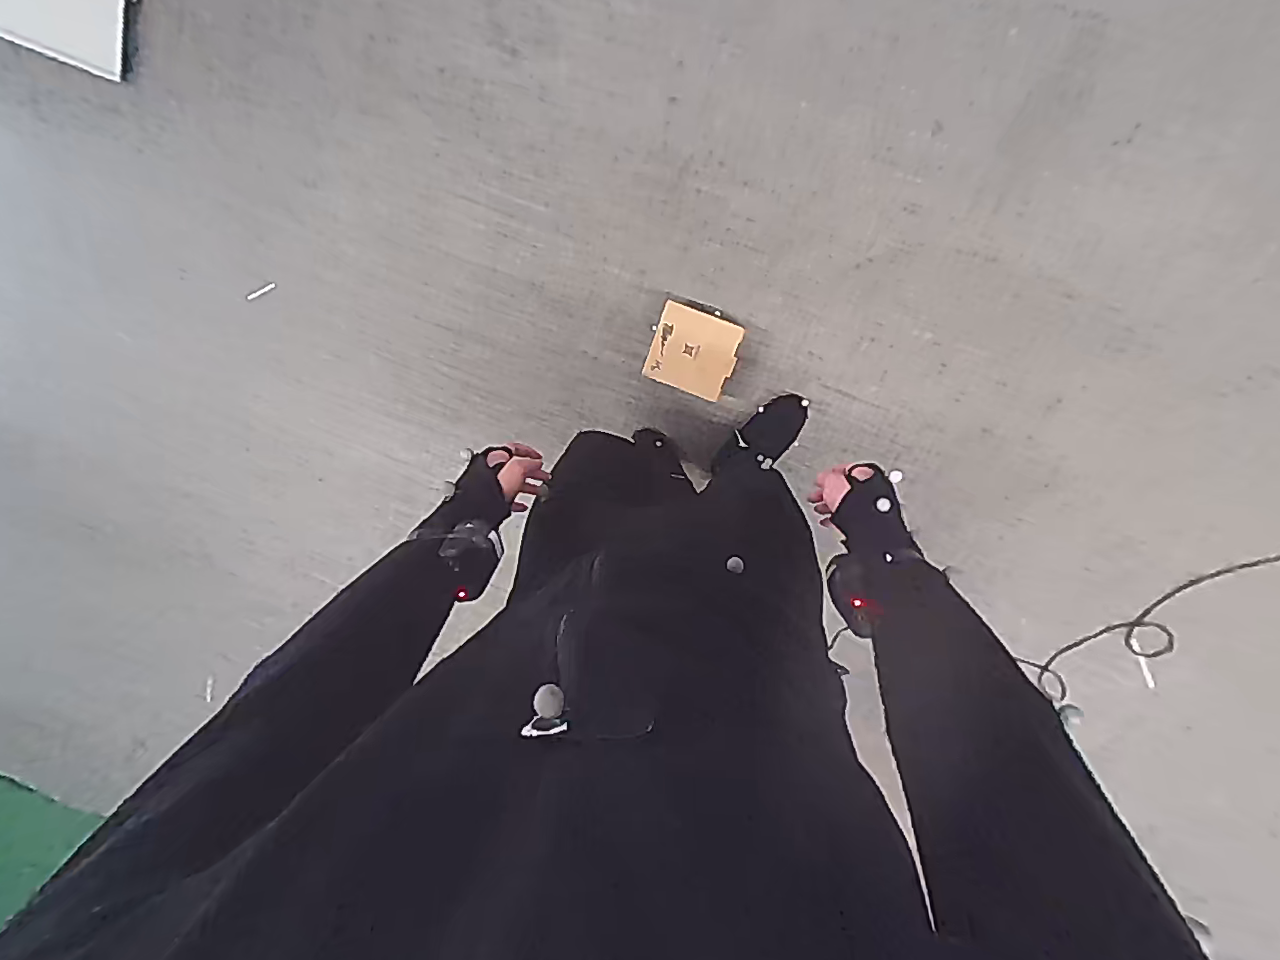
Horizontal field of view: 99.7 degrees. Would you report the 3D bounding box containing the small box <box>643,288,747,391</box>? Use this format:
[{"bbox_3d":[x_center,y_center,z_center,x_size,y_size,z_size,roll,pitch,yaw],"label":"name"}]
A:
[{"bbox_3d":[0.127,-0.315,1.205,0.179,0.176,0.168,22,109,4],"label":"small box"}]
